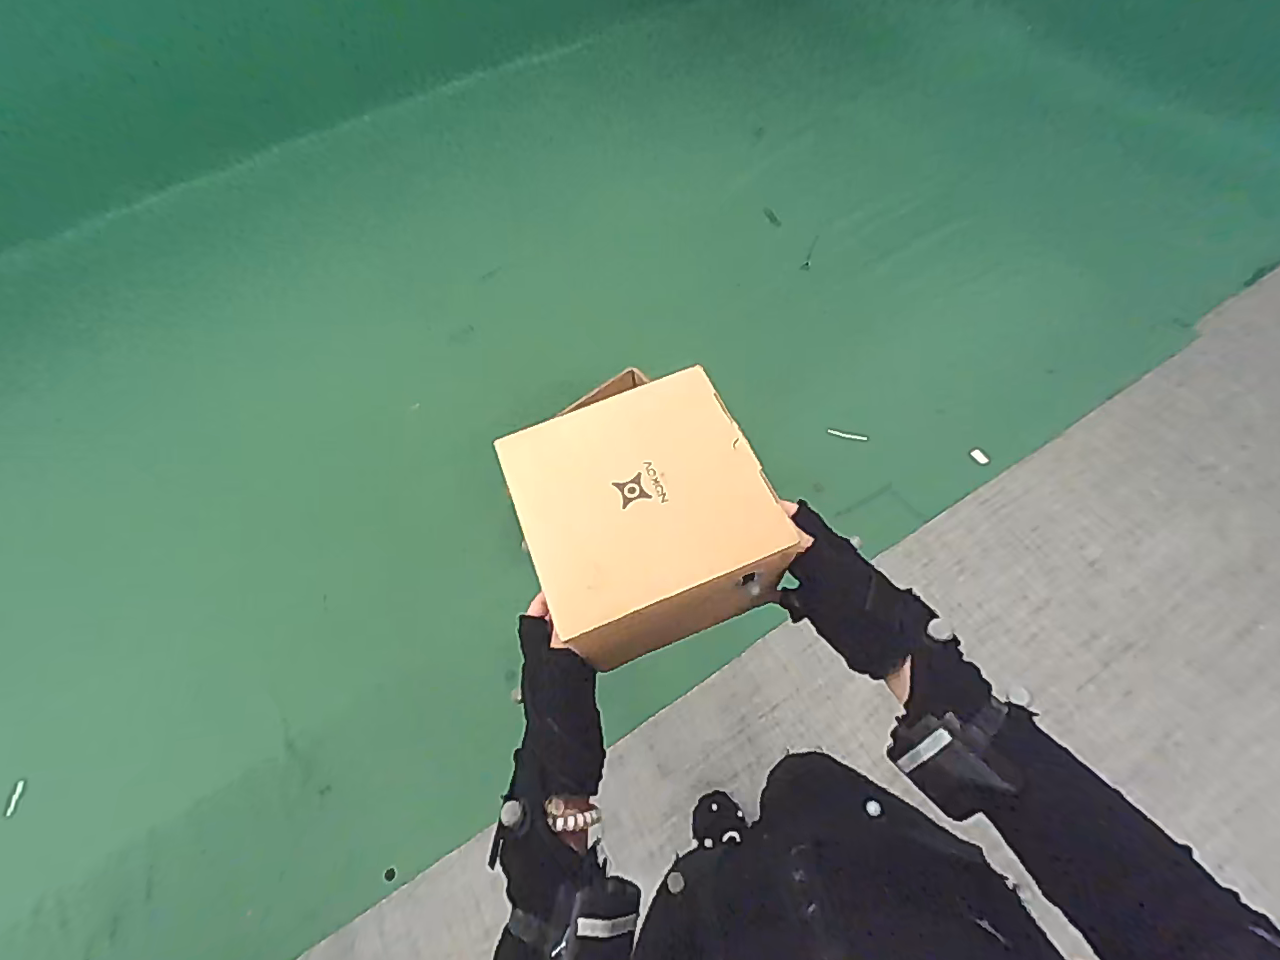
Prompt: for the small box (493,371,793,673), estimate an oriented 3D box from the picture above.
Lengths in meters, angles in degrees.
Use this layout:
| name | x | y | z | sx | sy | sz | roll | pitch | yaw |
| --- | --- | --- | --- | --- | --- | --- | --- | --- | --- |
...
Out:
| name | x | y | z | sx | sy | sz | roll | pitch | yaw |
| --- | --- | --- | --- | --- | --- | --- | --- | --- | --- |
| small box | 0.002 | 0.046 | 0.457 | 0.179 | 0.176 | 0.168 | -22 | 63 | -6 |
